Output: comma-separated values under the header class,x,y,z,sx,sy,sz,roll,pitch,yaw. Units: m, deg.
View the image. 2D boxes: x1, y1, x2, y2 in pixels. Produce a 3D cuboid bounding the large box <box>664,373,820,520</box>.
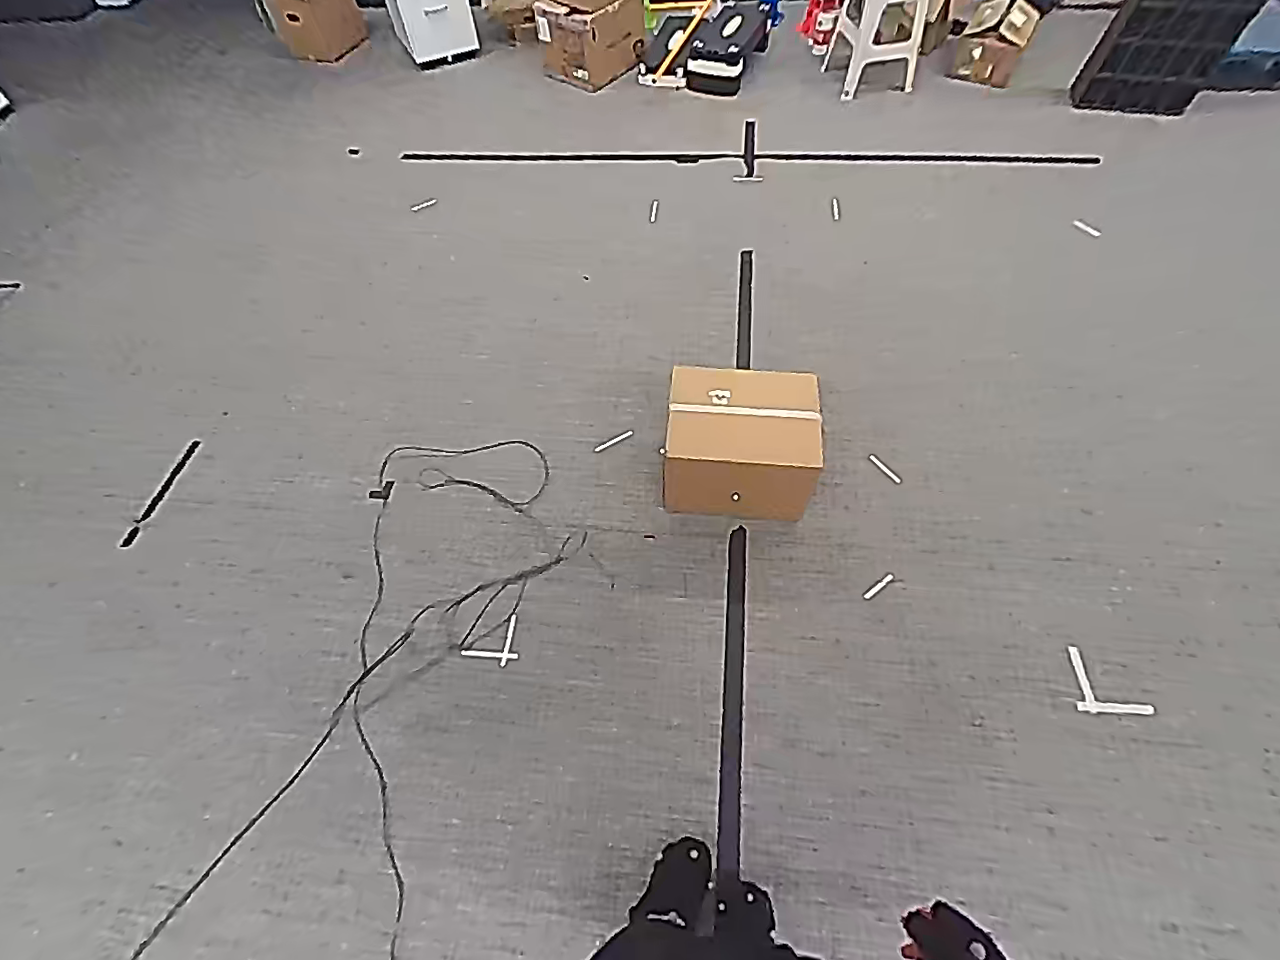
class,x,y,z,sx,sy,sz,roll,pitch,yaw
large box,0.284,-0.091,1.584,0.408,0.320,0.320,4,59,6
